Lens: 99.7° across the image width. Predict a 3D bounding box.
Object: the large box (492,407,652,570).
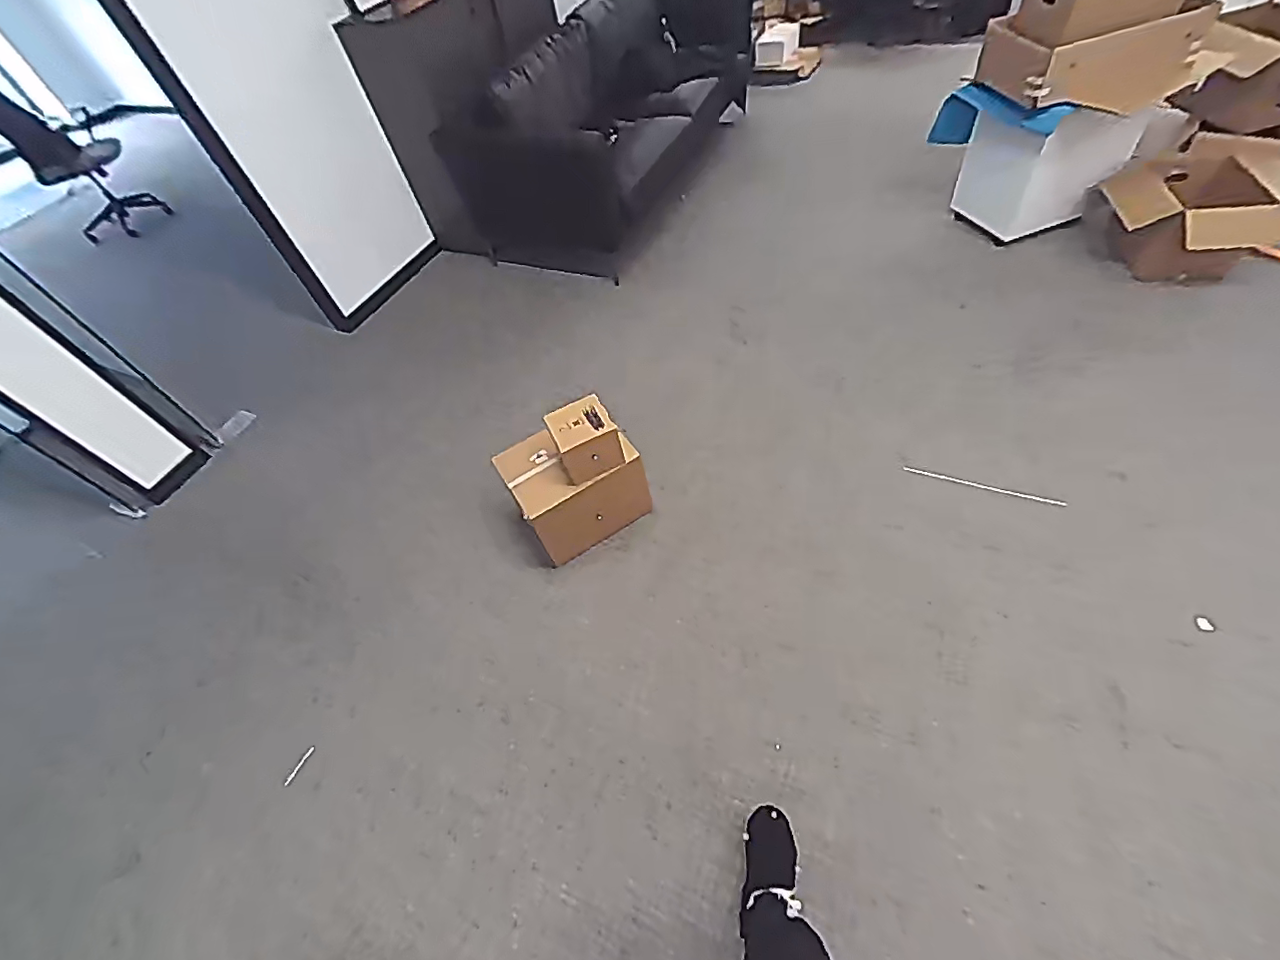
[{"bbox_3d":[-0.220,0.030,1.850,0.408,0.320,0.320,-32,53,-12],"label":"large box"}]
